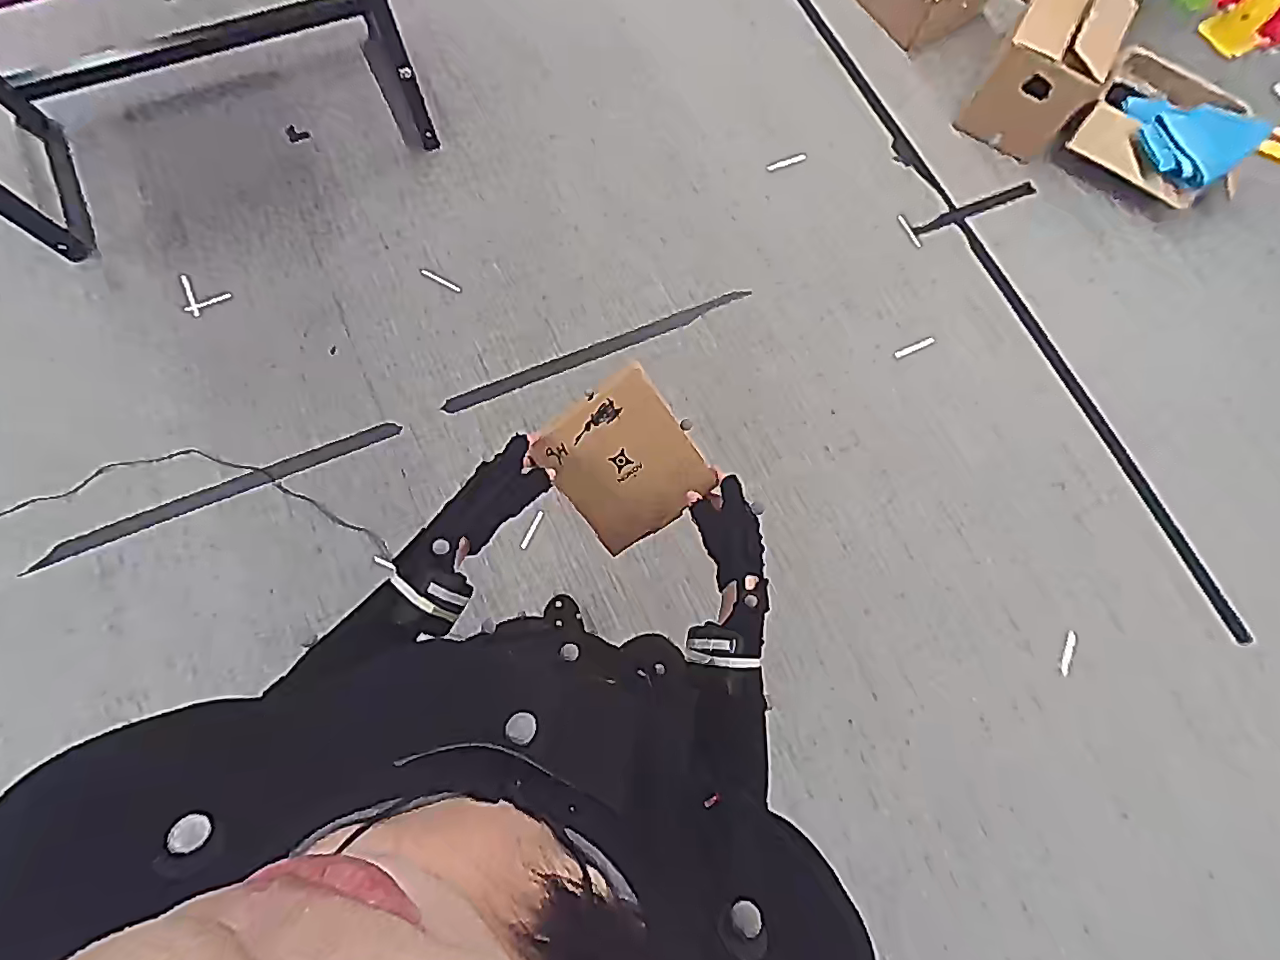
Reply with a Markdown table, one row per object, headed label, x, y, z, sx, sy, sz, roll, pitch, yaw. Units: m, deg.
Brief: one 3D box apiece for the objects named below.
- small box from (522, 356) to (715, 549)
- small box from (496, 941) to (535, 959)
| label | x | y | z | sx | sy | sz | roll | pitch | yaw |
| --- | --- | --- | --- | --- | --- | --- | --- | --- | --- |
| small box | -0.025 | -0.047 | 0.712 | 0.168 | 0.176 | 0.179 | -36 | 103 | 8 |
| small box | -0.299 | 1.195 | 1.194 | 0.179 | 0.176 | 0.168 | -42 | 82 | -13 |
